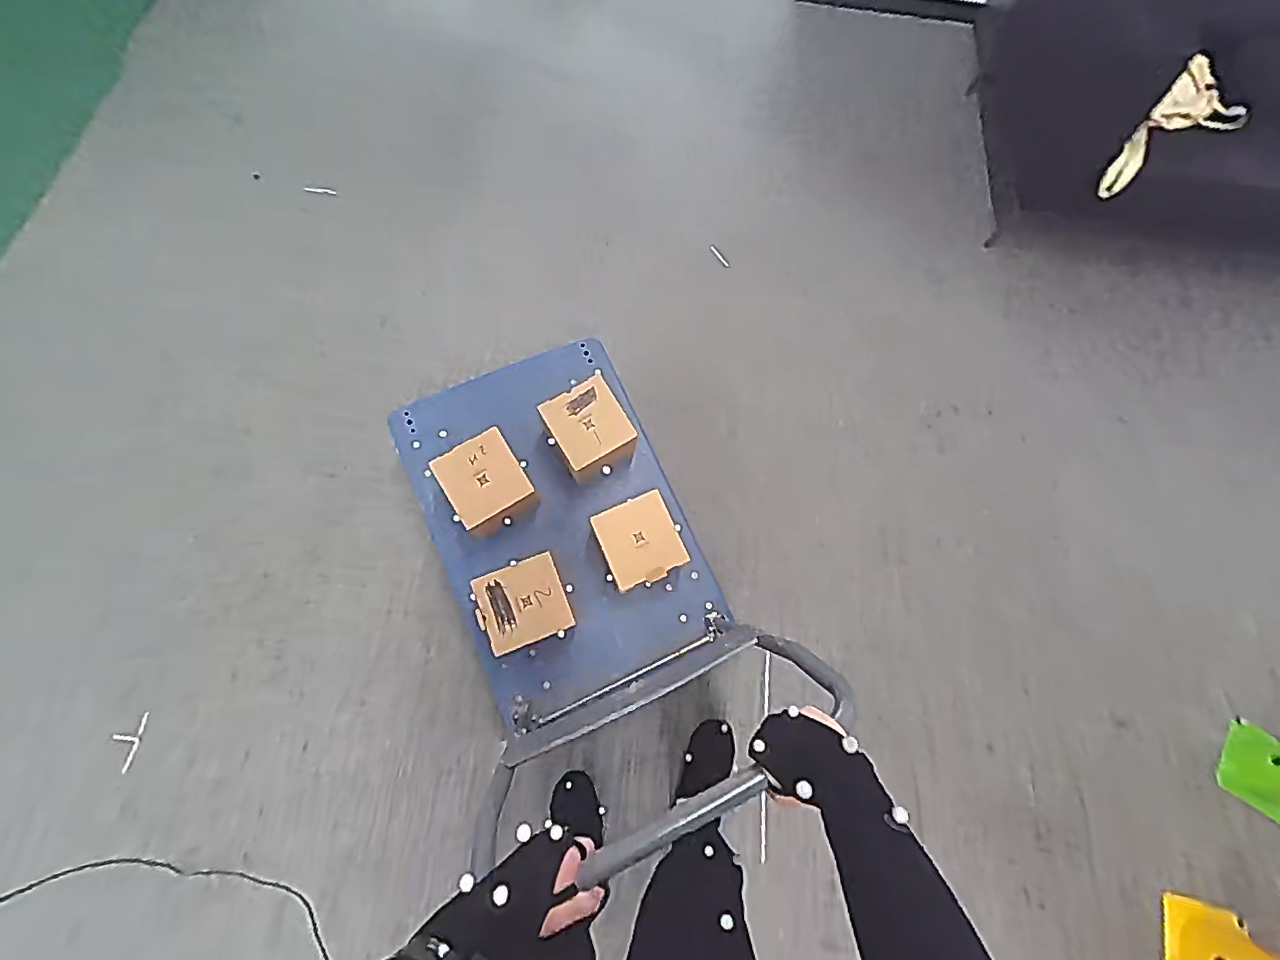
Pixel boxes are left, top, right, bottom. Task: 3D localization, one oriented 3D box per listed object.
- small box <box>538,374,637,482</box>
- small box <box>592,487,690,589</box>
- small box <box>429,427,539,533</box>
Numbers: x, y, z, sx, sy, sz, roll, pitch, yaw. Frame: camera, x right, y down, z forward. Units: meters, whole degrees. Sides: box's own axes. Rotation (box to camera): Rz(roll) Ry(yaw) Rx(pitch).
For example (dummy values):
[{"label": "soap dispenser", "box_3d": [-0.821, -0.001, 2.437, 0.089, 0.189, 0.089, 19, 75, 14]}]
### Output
[{"label": "small box", "box_3d": [-0.125, -0.117, 1.288, 0.168, 0.176, 0.179, -31, 82, -10]}, {"label": "small box", "box_3d": [-0.006, 0.140, 1.243, 0.168, 0.176, 0.179, -24, 81, -9]}, {"label": "small box", "box_3d": [-0.347, 0.010, 1.241, 0.168, 0.176, 0.179, -31, 82, -12]}]
